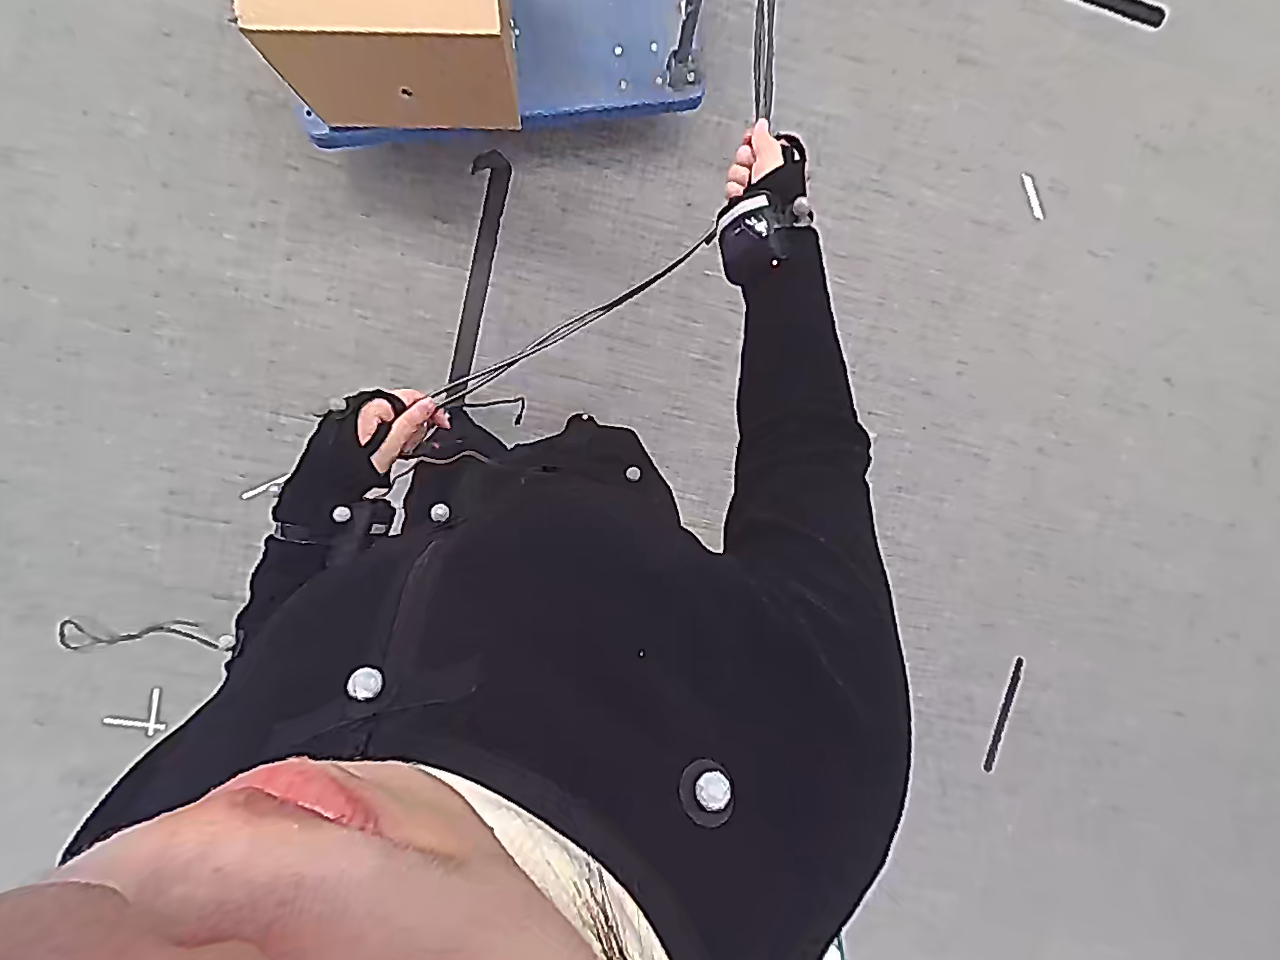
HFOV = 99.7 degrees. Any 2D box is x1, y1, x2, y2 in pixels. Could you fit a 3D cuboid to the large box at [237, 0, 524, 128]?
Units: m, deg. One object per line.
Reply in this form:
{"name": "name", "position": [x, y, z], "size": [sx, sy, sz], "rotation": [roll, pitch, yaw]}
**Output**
{"name": "large box", "position": [-0.441, -0.874, 0.976], "size": [0.408, 0.320, 0.320], "rotation": [-4, 98, -5]}
